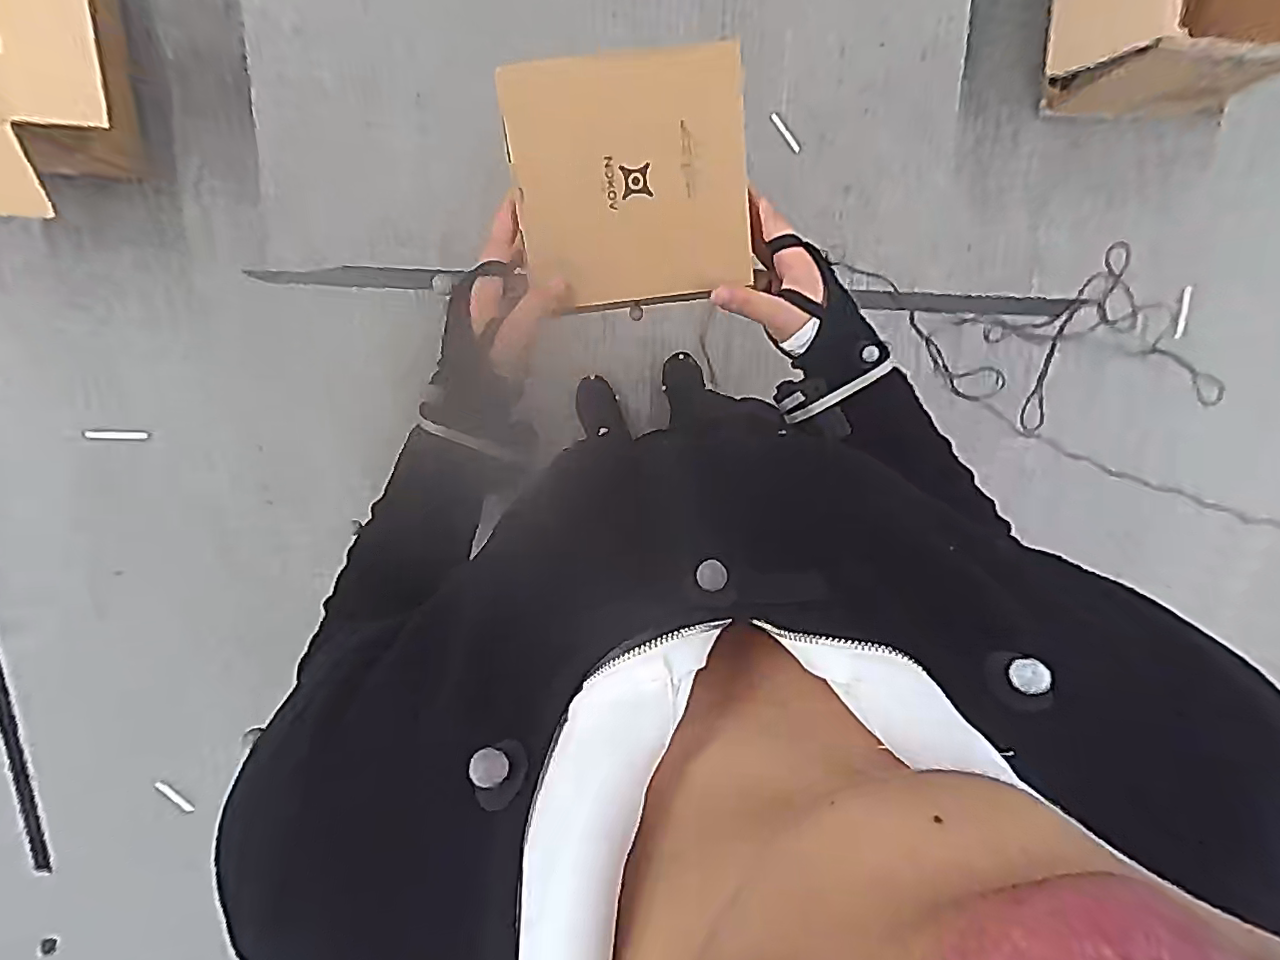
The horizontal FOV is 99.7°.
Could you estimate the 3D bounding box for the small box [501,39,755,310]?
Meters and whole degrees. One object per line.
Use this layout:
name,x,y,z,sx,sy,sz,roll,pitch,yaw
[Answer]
small box,-0.010,-0.247,0.480,0.179,0.176,0.168,-8,107,-3
